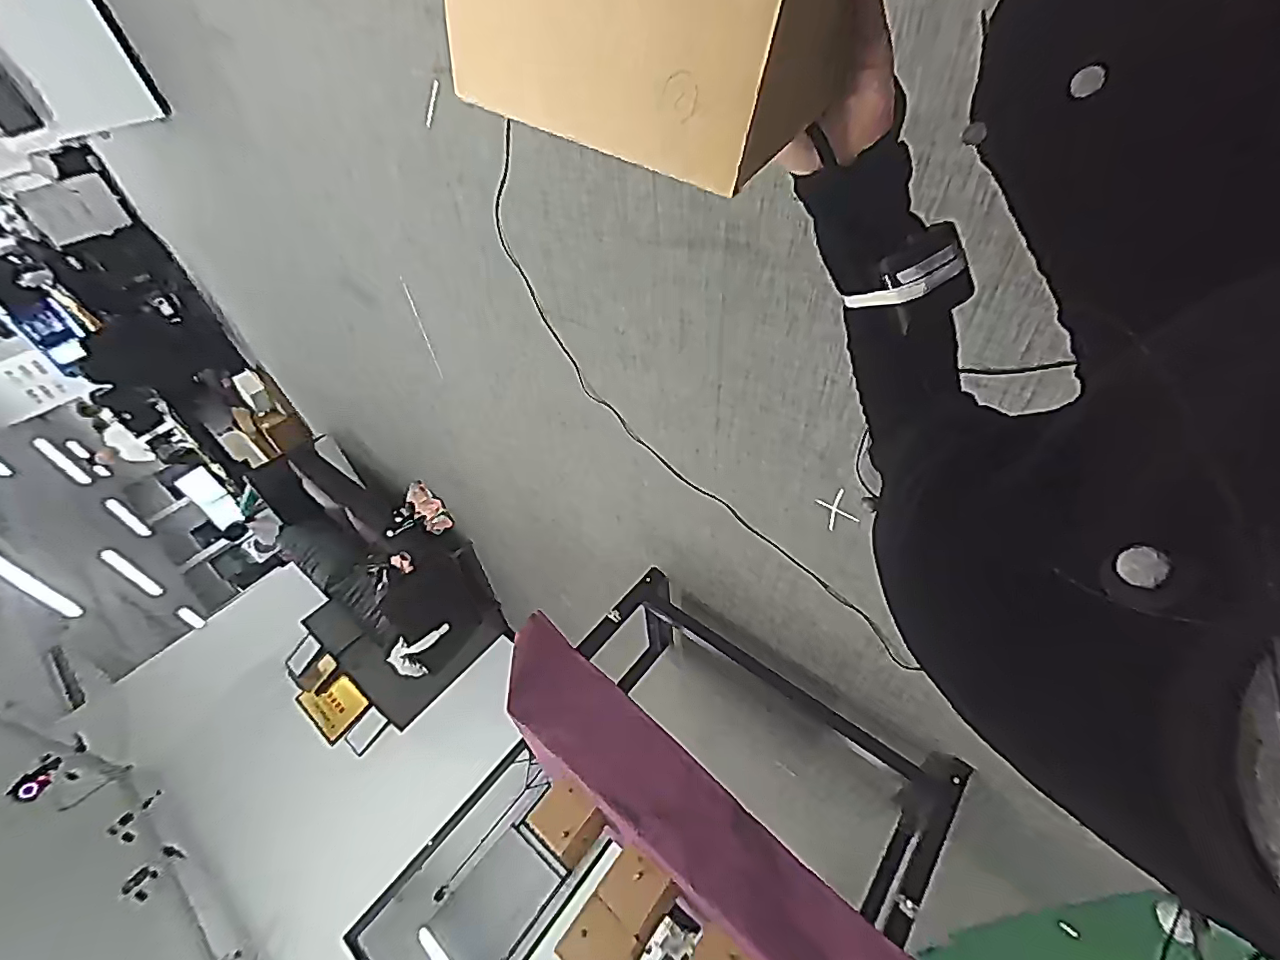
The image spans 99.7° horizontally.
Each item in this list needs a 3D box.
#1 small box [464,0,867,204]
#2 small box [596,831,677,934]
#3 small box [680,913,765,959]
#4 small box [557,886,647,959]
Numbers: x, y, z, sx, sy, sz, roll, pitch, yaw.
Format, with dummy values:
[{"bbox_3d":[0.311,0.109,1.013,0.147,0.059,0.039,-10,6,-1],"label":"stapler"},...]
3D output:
[{"bbox_3d":[0.028,-0.278,0.267,0.168,0.176,0.179,27,143,12],"label":"small box"},{"bbox_3d":[-0.004,1.219,1.642,0.168,0.176,0.179,23,142,35],"label":"small box"},{"bbox_3d":[0.224,1.338,1.489,0.179,0.176,0.168,27,145,31],"label":"small box"},{"bbox_3d":[-0.106,1.314,1.557,0.179,0.176,0.168,24,144,33],"label":"small box"}]
